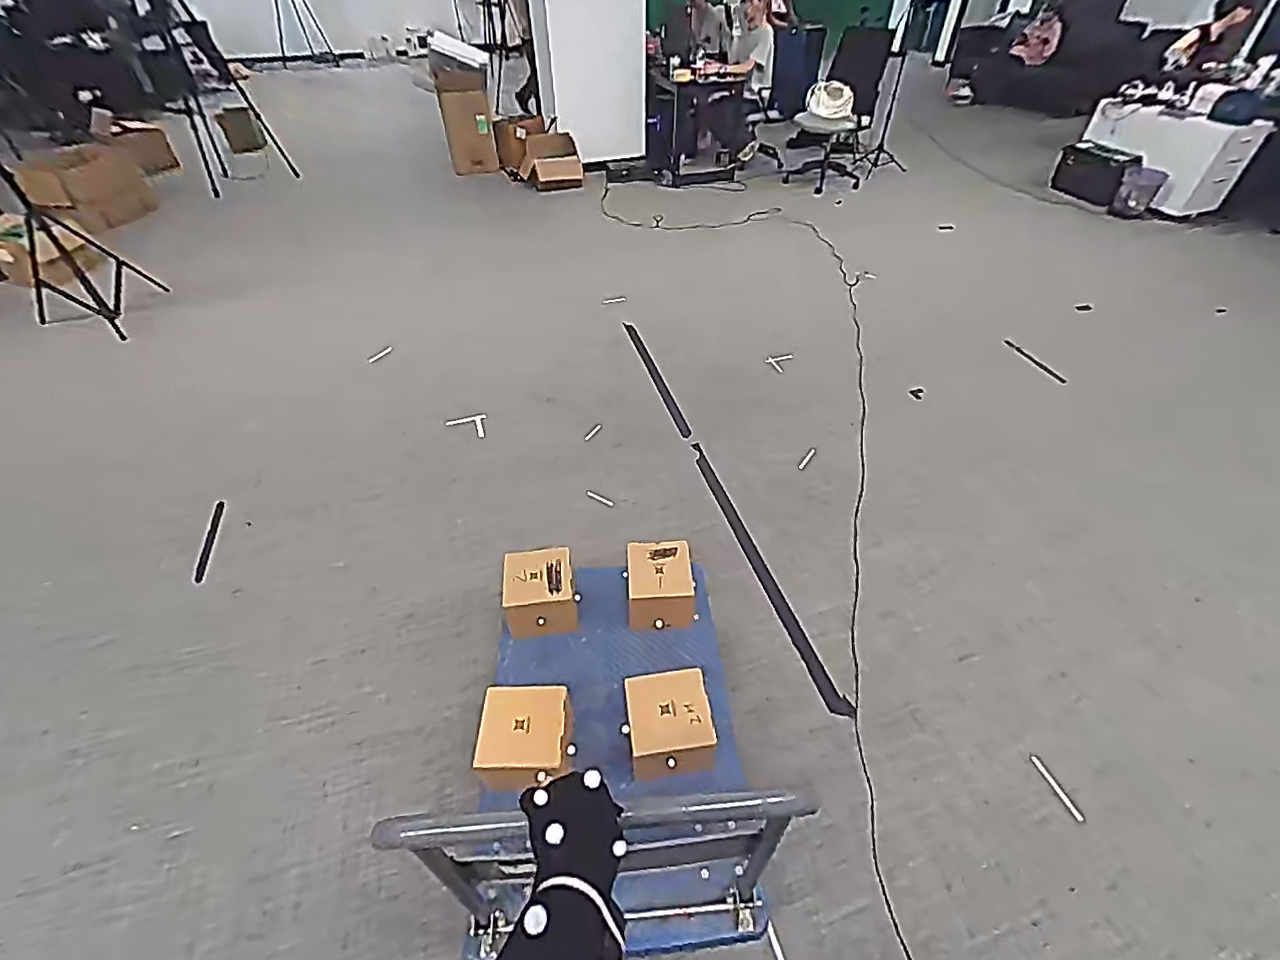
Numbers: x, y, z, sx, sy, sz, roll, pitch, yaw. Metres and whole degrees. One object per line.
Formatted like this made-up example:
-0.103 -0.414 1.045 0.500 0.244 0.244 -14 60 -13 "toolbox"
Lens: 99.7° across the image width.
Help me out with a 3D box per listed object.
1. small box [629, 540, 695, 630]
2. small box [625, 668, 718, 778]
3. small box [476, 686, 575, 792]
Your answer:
0.054 0.284 1.460 0.168 0.176 0.179 -3 46 -1 "small box"
0.066 0.542 1.201 0.179 0.176 0.168 -6 45 -5 "small box"
-0.241 0.568 1.183 0.179 0.176 0.168 -1 44 -2 "small box"
